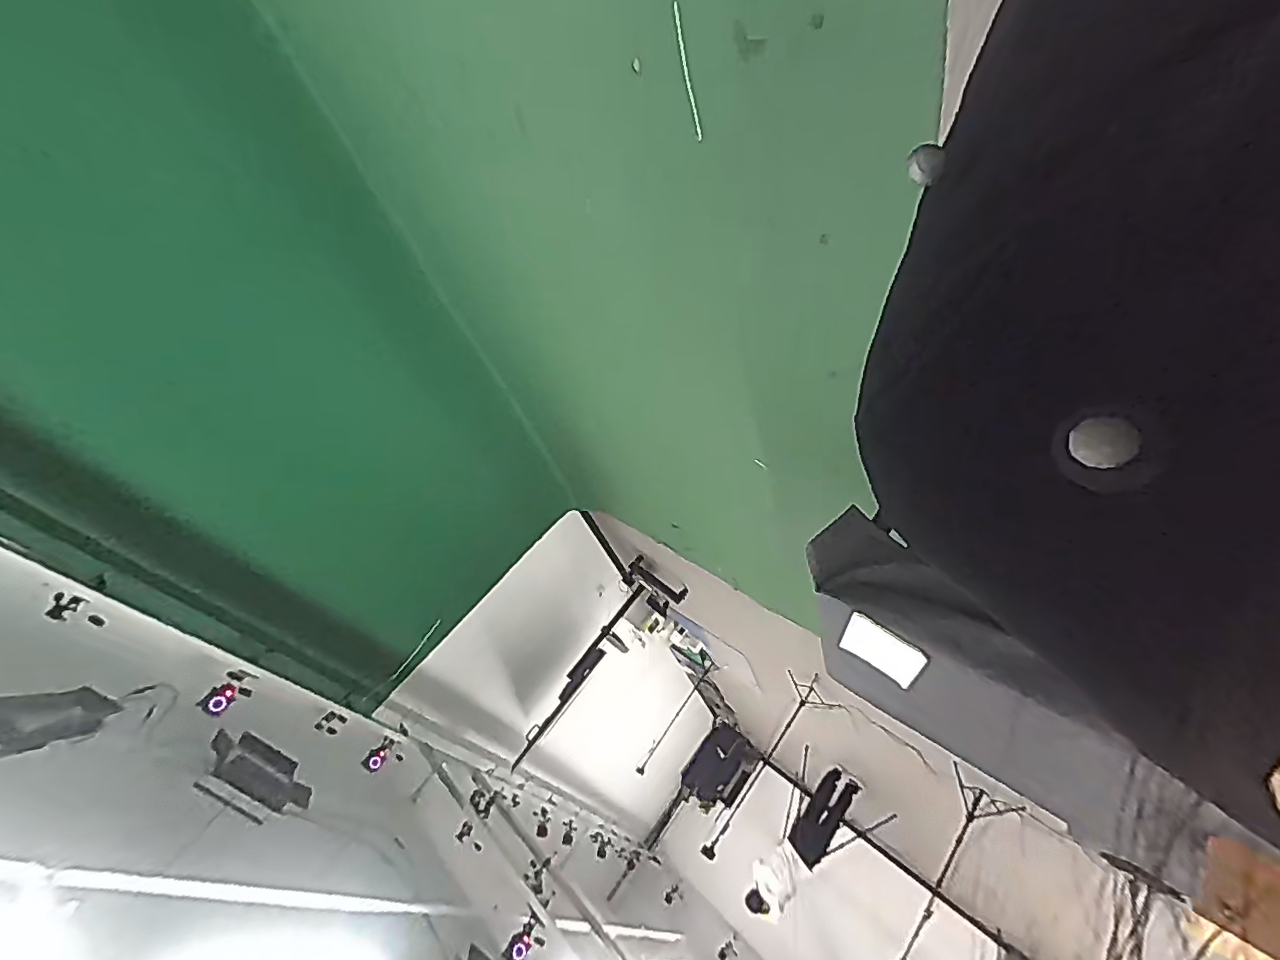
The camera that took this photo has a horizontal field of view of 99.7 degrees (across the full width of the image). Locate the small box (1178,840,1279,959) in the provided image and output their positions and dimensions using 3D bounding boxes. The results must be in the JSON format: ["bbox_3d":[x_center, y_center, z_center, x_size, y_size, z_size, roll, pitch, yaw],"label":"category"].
[{"bbox_3d":[1.161,0.827,1.013,0.179,0.176,0.168,19,149,49],"label":"small box"}]
